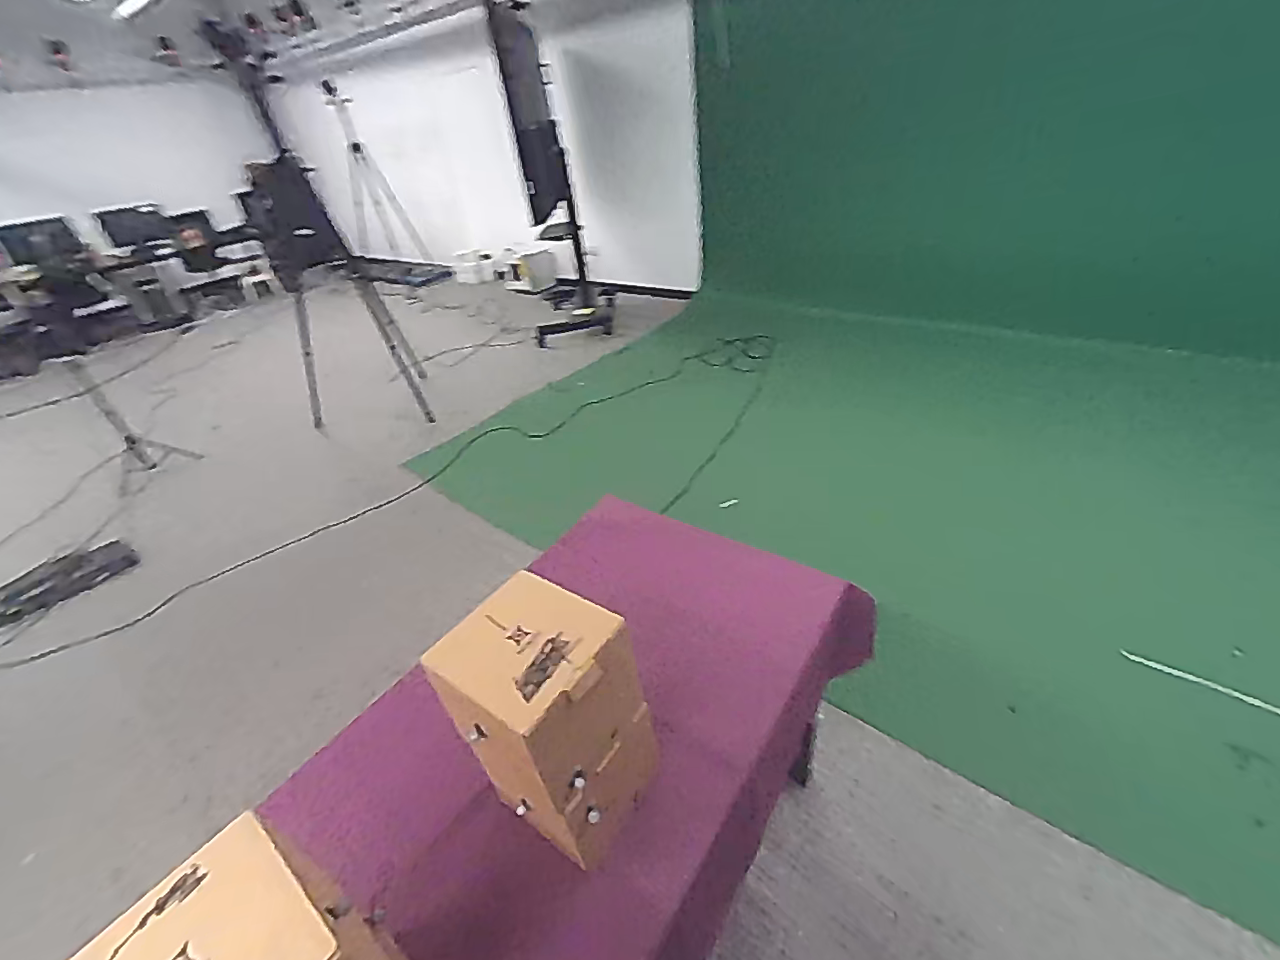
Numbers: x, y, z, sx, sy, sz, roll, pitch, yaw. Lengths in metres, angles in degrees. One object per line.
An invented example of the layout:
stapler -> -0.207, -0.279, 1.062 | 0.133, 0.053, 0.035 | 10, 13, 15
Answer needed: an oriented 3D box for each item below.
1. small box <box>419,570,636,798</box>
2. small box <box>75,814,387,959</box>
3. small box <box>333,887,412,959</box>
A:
small box -> -0.123, 0.246, 0.656 | 0.179, 0.176, 0.168 | 16, 41, 33
small box -> -0.320, 0.427, 0.435 | 0.179, 0.176, 0.168 | 19, 42, 33
small box -> -0.298, 0.562, 0.527 | 0.179, 0.176, 0.168 | 18, 43, 33
